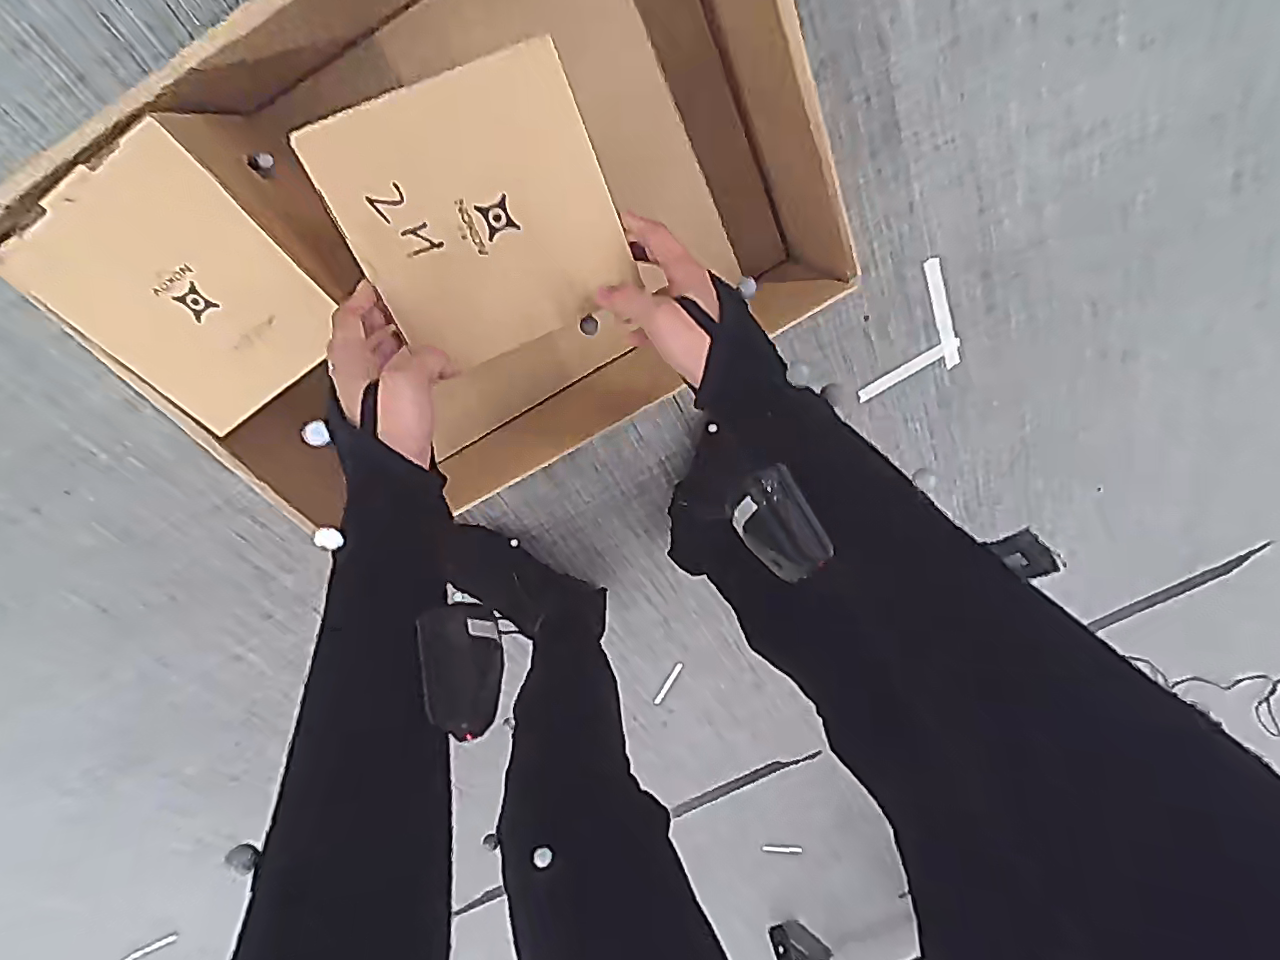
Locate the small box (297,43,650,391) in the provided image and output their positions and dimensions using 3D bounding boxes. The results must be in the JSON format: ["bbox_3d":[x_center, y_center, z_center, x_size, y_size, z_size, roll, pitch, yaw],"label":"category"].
[{"bbox_3d":[-0.117,-0.191,0.427,0.179,0.176,0.168,-25,113,-5],"label":"small box"}]
